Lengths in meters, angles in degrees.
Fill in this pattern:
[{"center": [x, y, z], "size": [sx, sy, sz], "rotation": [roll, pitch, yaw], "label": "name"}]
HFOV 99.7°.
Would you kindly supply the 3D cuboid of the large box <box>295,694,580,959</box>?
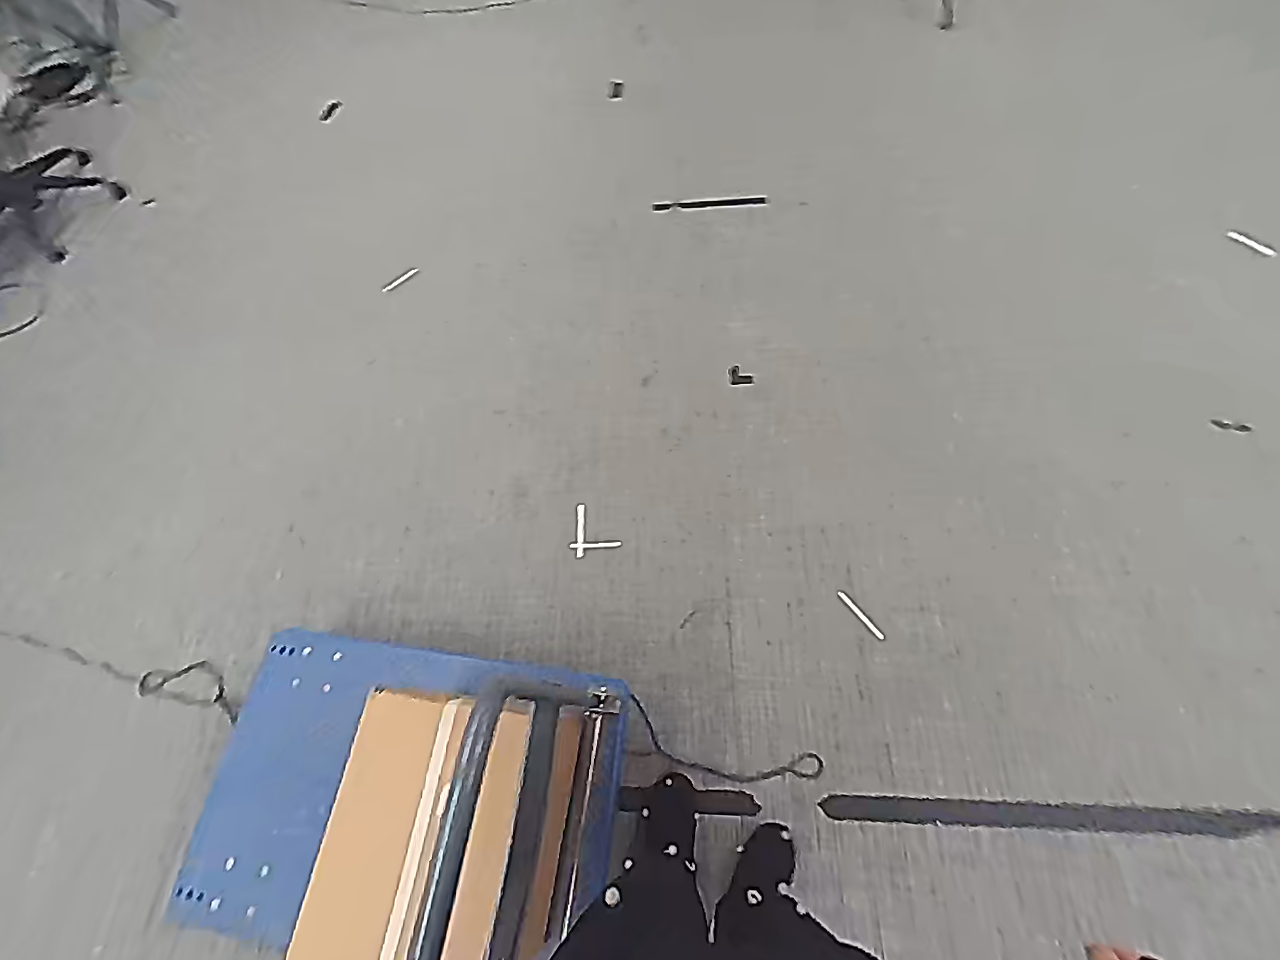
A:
[{"center": [-0.317, 0.624, 0.969], "size": [0.320, 0.320, 0.408], "rotation": [5, 67, 9], "label": "large box"}]
